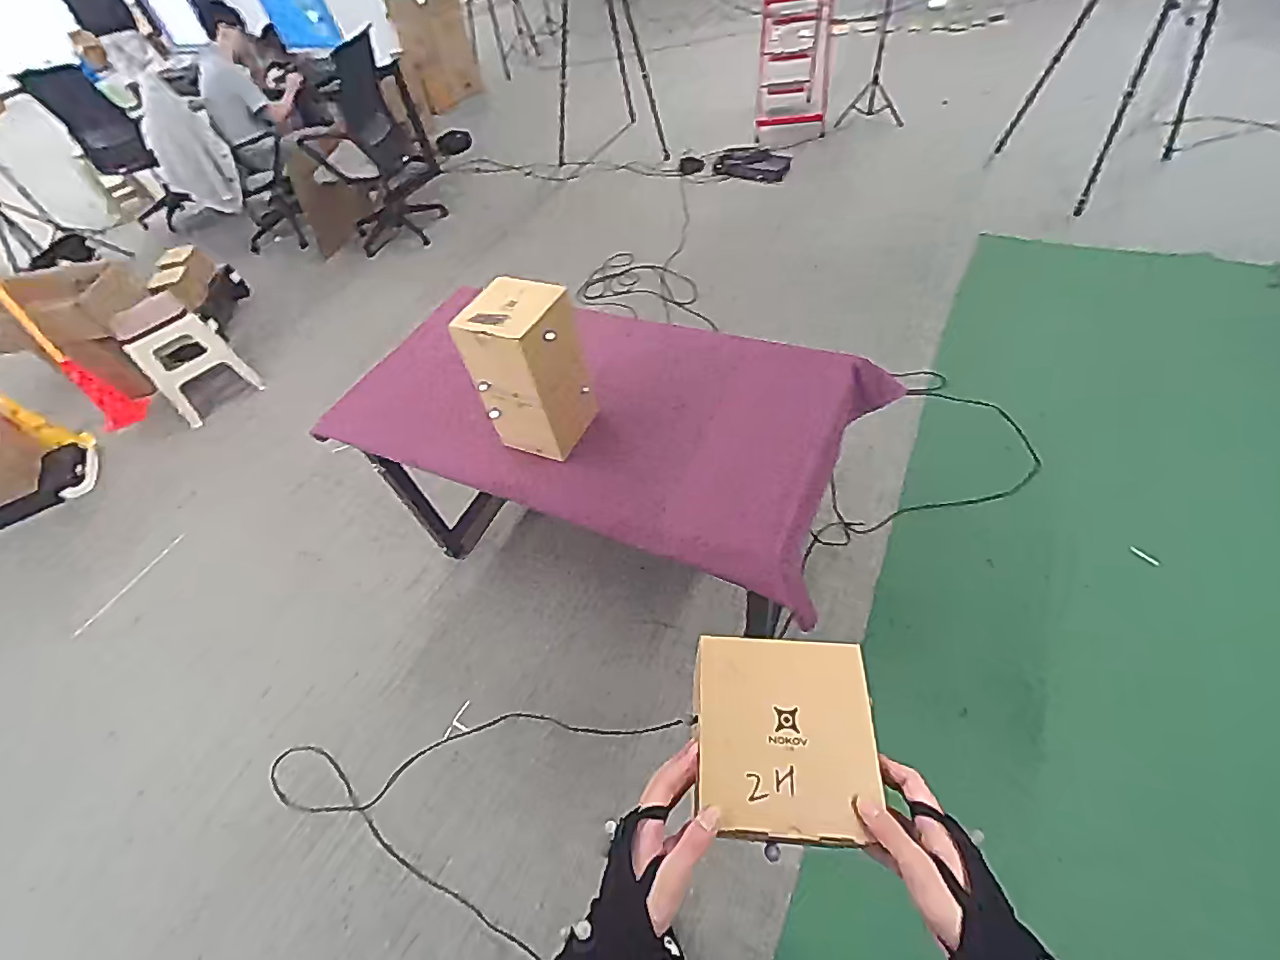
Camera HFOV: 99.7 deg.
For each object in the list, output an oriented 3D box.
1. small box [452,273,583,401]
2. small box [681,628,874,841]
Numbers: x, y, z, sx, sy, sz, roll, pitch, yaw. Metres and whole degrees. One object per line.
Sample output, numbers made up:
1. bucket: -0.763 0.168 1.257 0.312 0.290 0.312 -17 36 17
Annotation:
1. small box: -0.232 -0.283 1.082 0.168 0.176 0.179 17 55 21
2. small box: 0.132 0.278 0.585 0.168 0.176 0.179 2 56 5
